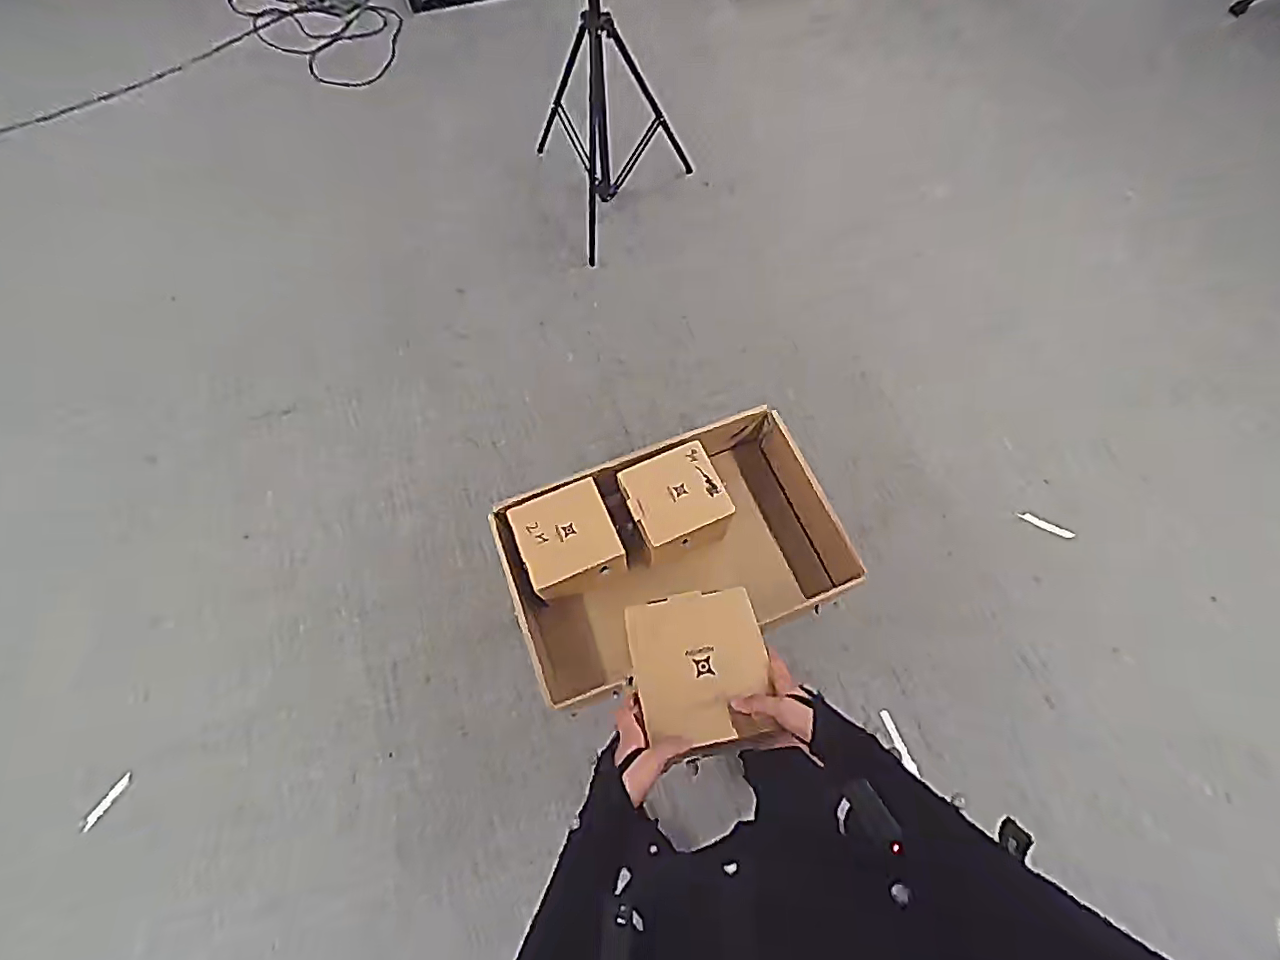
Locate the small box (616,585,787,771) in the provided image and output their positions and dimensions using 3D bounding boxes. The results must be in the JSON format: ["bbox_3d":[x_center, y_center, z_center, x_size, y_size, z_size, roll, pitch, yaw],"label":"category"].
[{"bbox_3d":[0.064,0.261,0.708,0.168,0.176,0.179,-8,57,-10],"label":"small box"}]
